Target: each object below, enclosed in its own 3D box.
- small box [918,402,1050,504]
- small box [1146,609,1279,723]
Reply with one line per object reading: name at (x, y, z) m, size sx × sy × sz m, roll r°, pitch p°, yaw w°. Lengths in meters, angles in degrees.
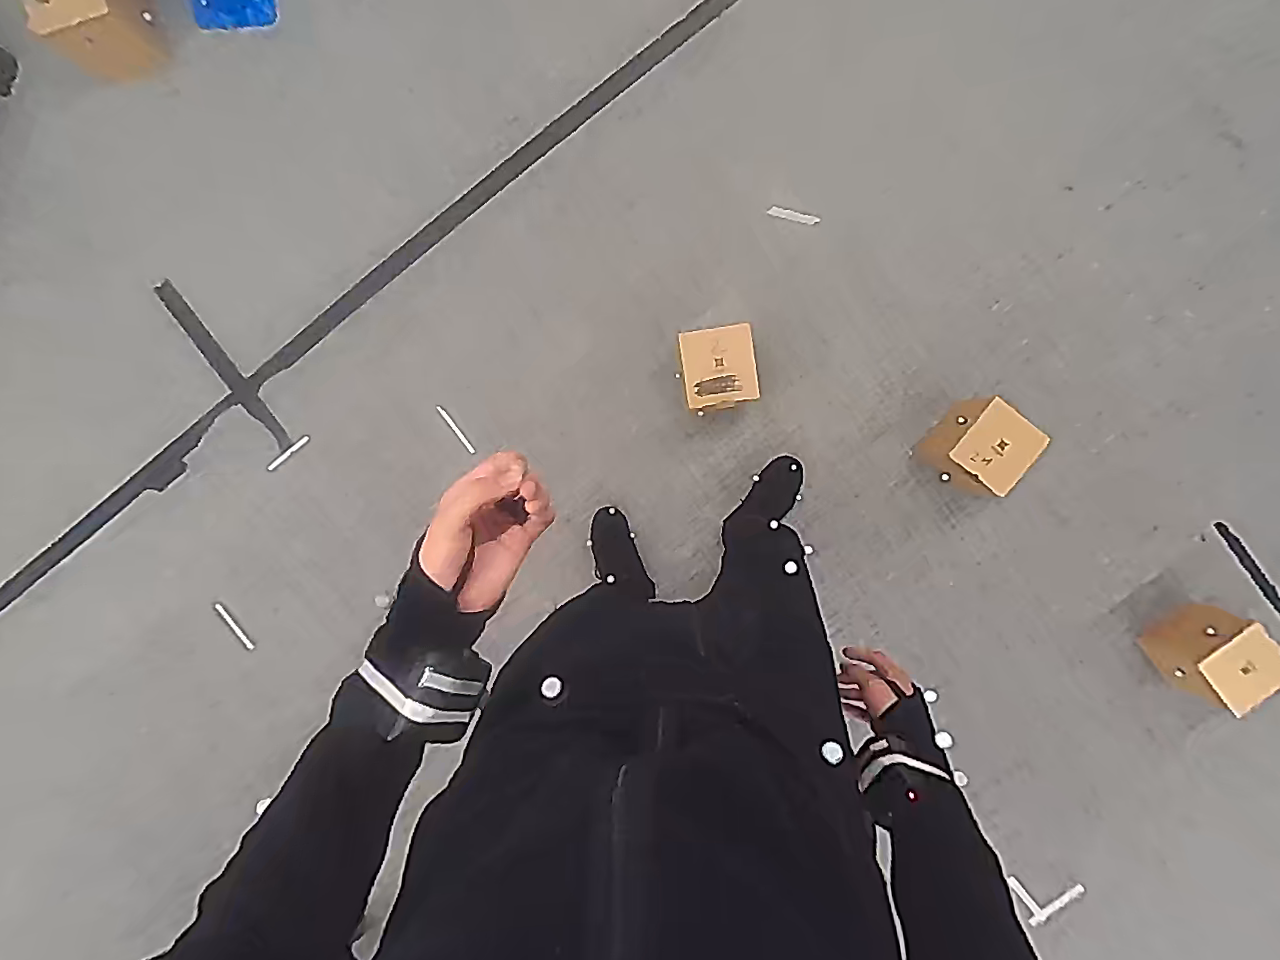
small box at (0.822, -0.067, 1.312) m, size 0.168 × 0.176 × 0.179 m, roll 38°, pitch 93°, yaw -1°
small box at (1.415, 0.448, 1.332) m, size 0.179 × 0.176 × 0.168 m, roll -39°, pitch 92°, yaw 2°
